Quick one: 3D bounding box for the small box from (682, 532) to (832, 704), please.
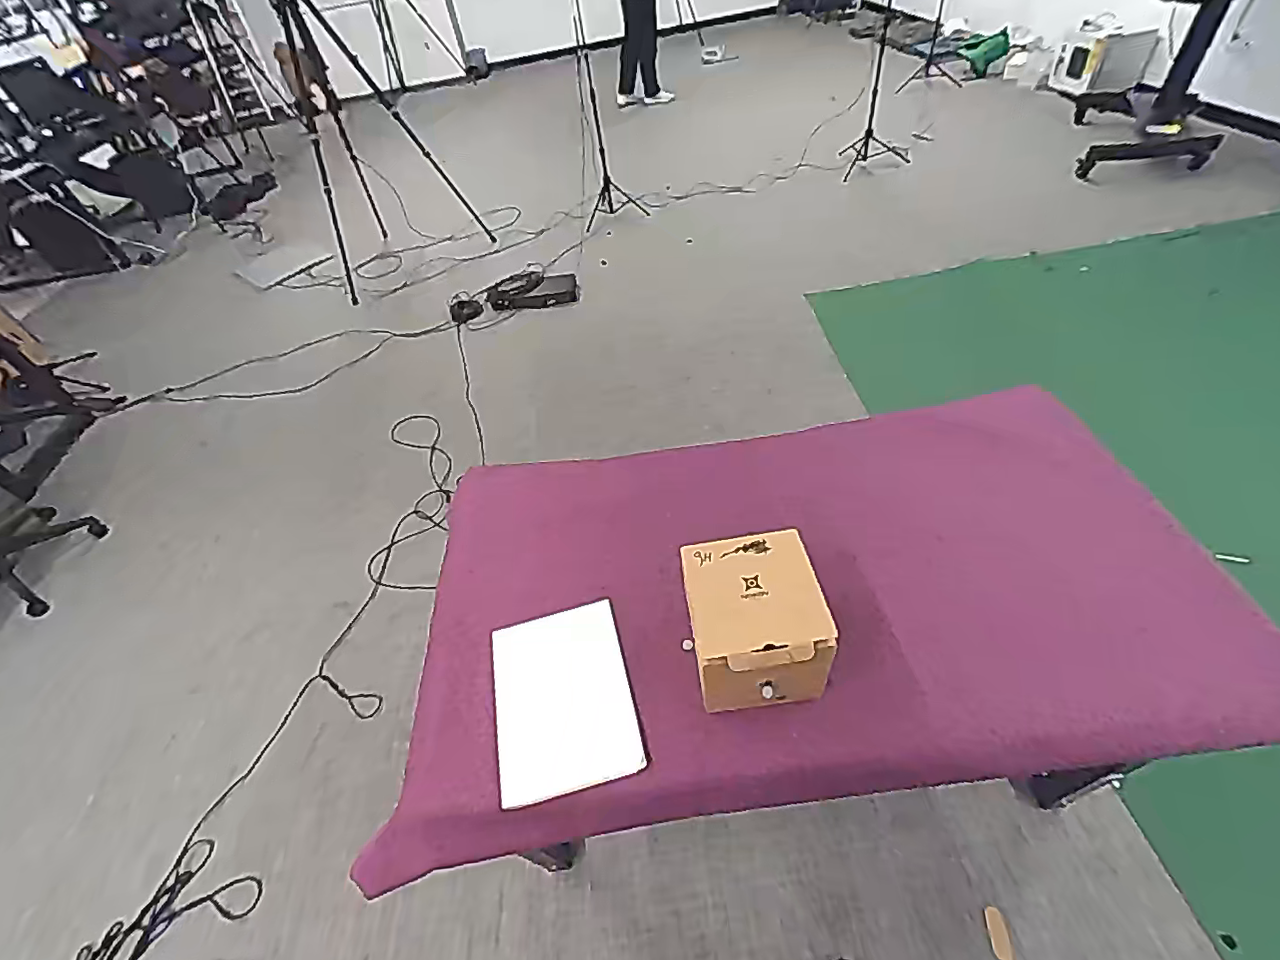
[{"bbox_3d":[0.155,0.199,0.759,0.168,0.176,0.179,-8,48,2],"label":"small box"}]
